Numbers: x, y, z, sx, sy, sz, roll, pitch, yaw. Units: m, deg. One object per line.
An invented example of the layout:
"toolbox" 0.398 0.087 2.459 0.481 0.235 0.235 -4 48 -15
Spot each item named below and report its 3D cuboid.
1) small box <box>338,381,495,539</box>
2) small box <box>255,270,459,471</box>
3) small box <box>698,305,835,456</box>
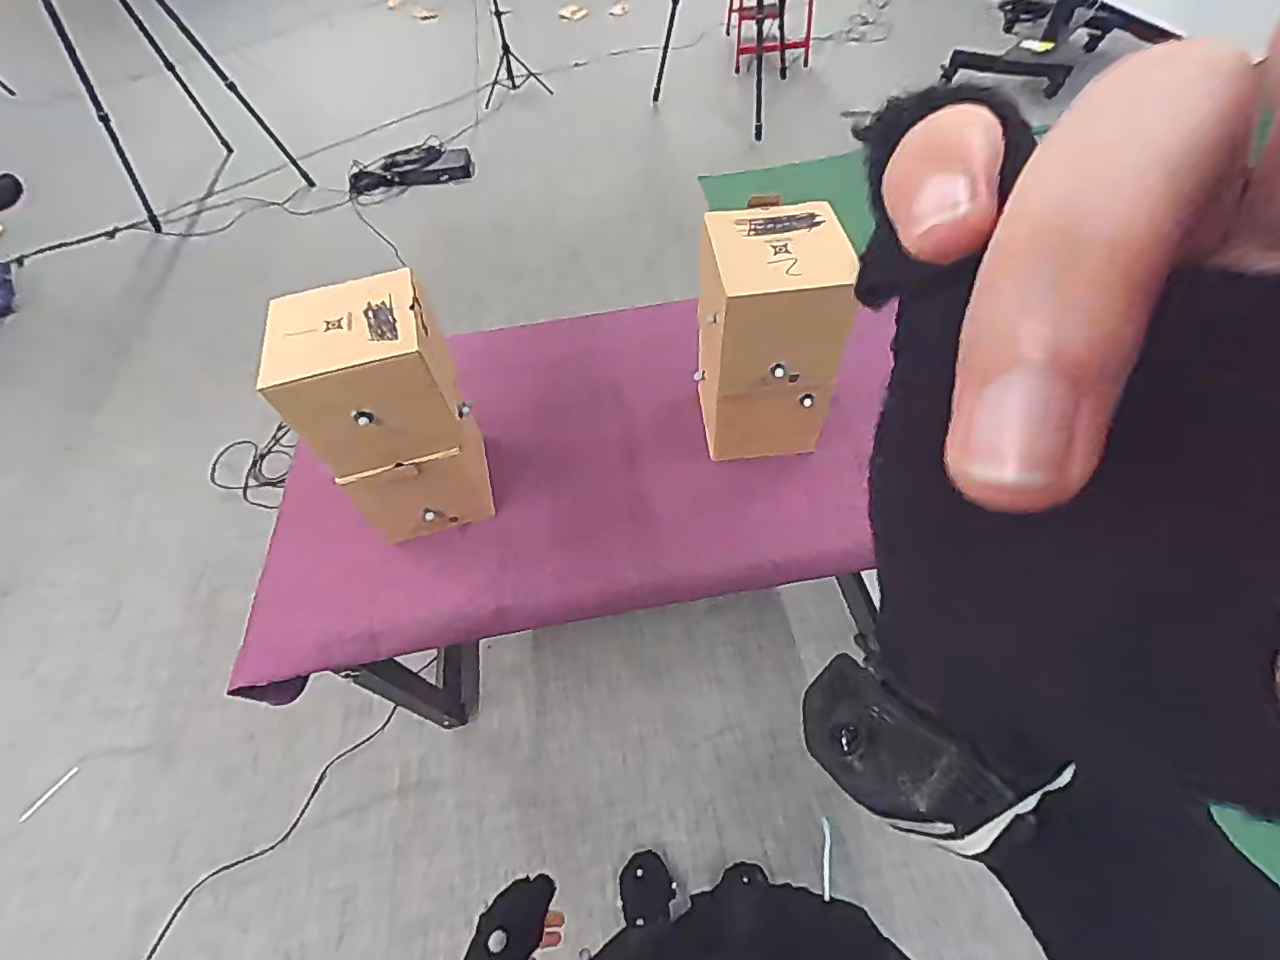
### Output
"small box" -0.334 -0.037 0.830 0.168 0.176 0.179 -16 56 -5
"small box" -0.341 -0.136 0.695 0.179 0.176 0.168 -13 54 -5
"small box" 0.189 -0.153 0.864 0.179 0.176 0.168 -5 55 1
